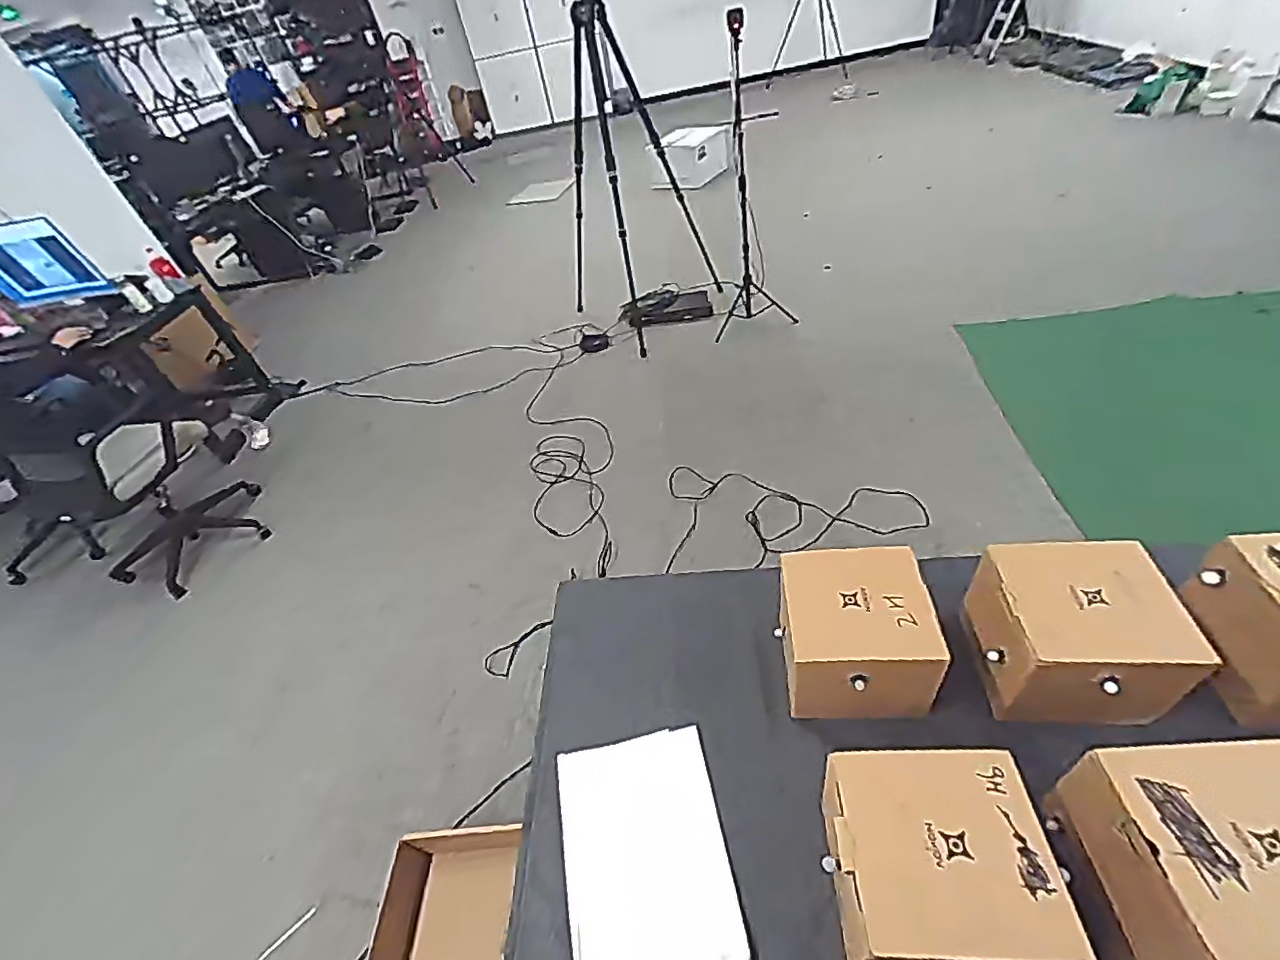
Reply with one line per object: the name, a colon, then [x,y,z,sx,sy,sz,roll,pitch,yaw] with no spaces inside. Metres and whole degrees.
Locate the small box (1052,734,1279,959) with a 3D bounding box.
small box: [0.533,0.360,0.509,0.179,0.176,0.168,-7,43,6]
